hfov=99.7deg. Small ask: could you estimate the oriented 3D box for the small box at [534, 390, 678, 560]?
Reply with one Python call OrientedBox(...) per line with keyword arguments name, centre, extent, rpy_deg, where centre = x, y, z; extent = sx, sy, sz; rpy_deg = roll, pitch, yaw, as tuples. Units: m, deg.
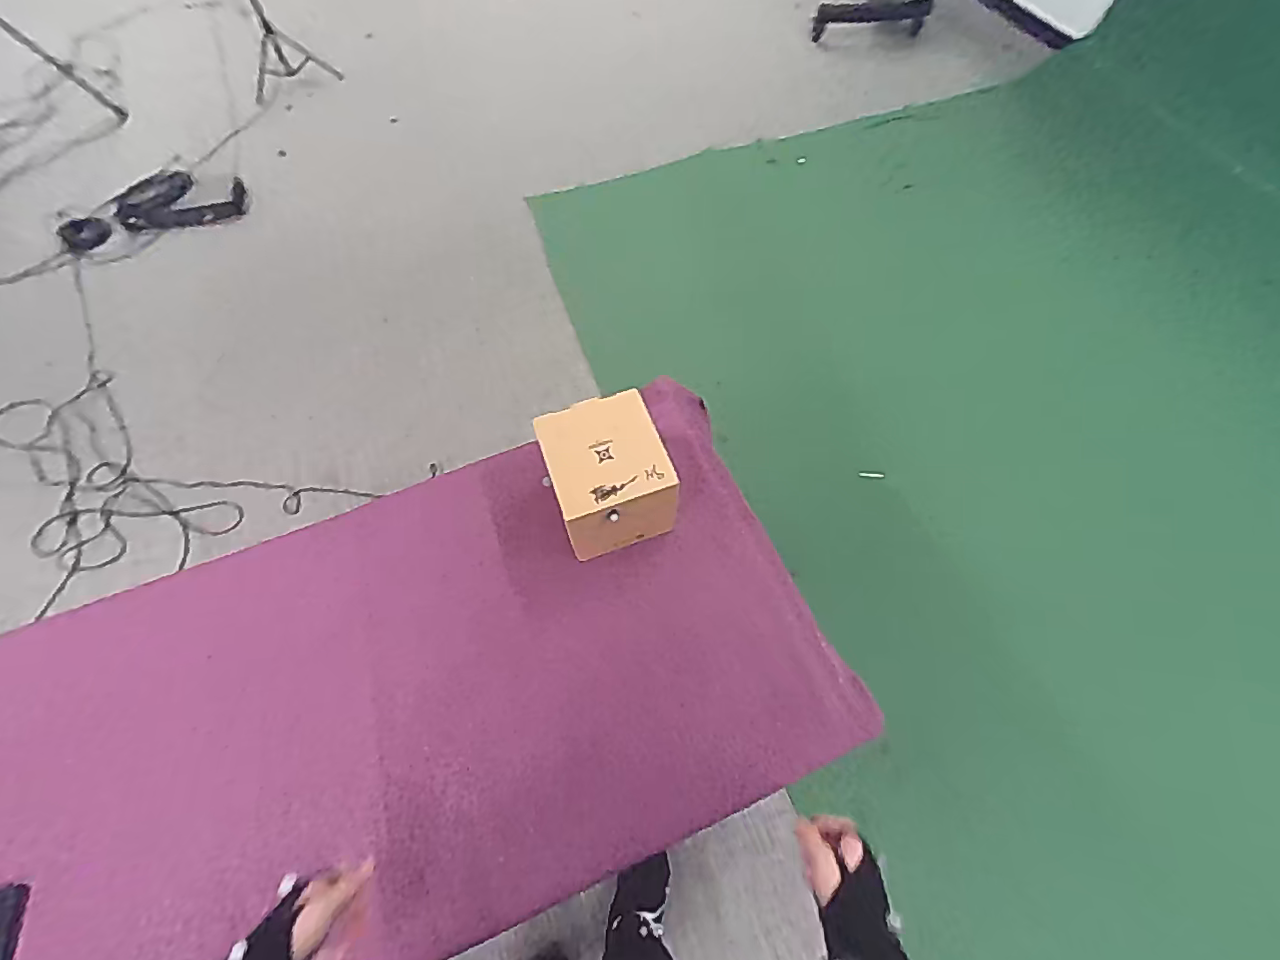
OrientedBox(name="small box", centre=(-0.051, -0.003, 0.834), extent=(0.168, 0.176, 0.179), rpy_deg=(-19, 63, -8))
